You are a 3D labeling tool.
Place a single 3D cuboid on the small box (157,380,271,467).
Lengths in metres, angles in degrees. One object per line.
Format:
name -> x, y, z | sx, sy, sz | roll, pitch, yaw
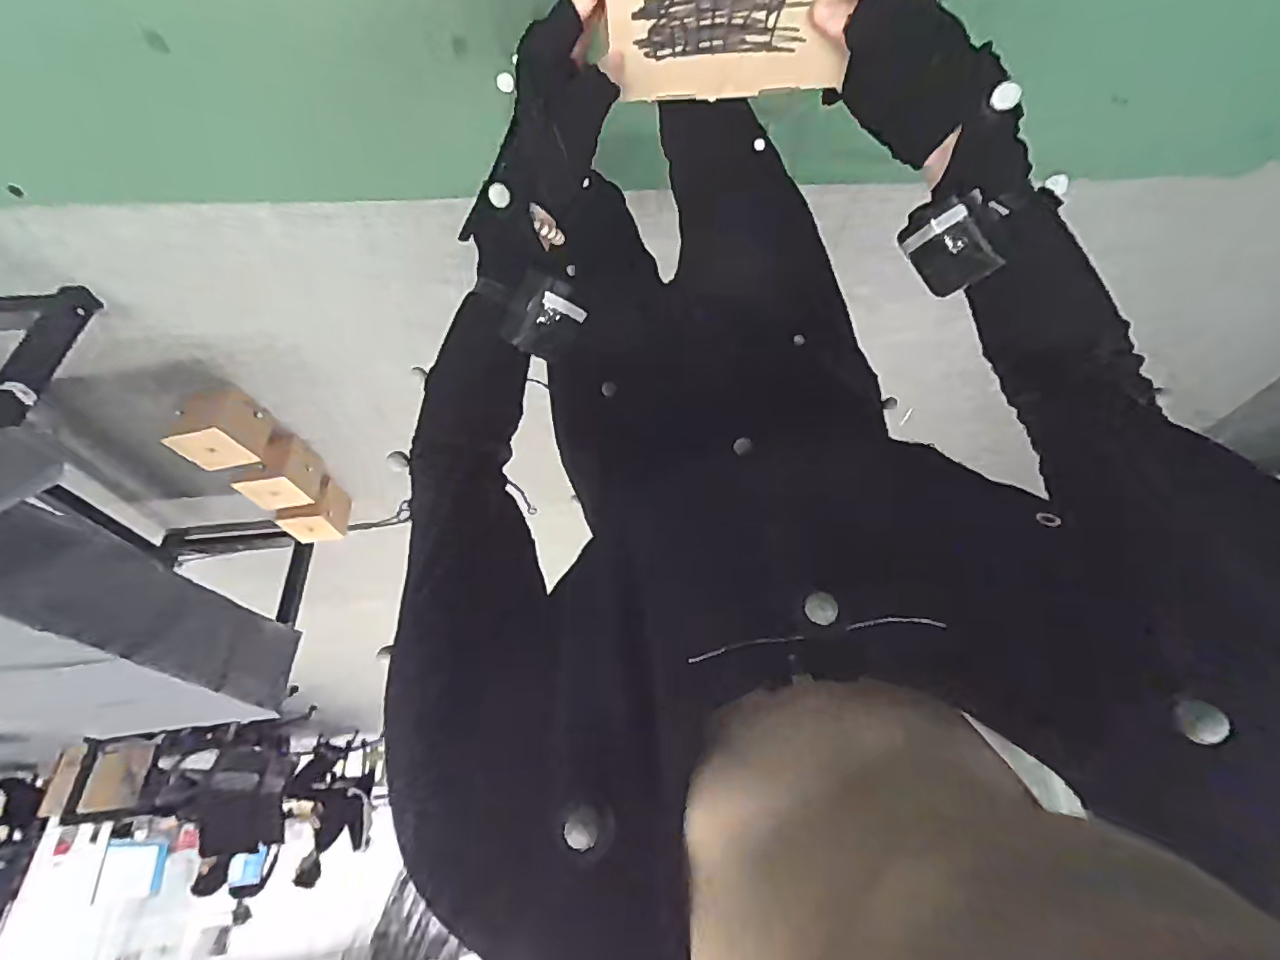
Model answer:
small box -> -1.217, -0.164, 1.562 | 0.179, 0.176, 0.168 | -10, 148, 6
